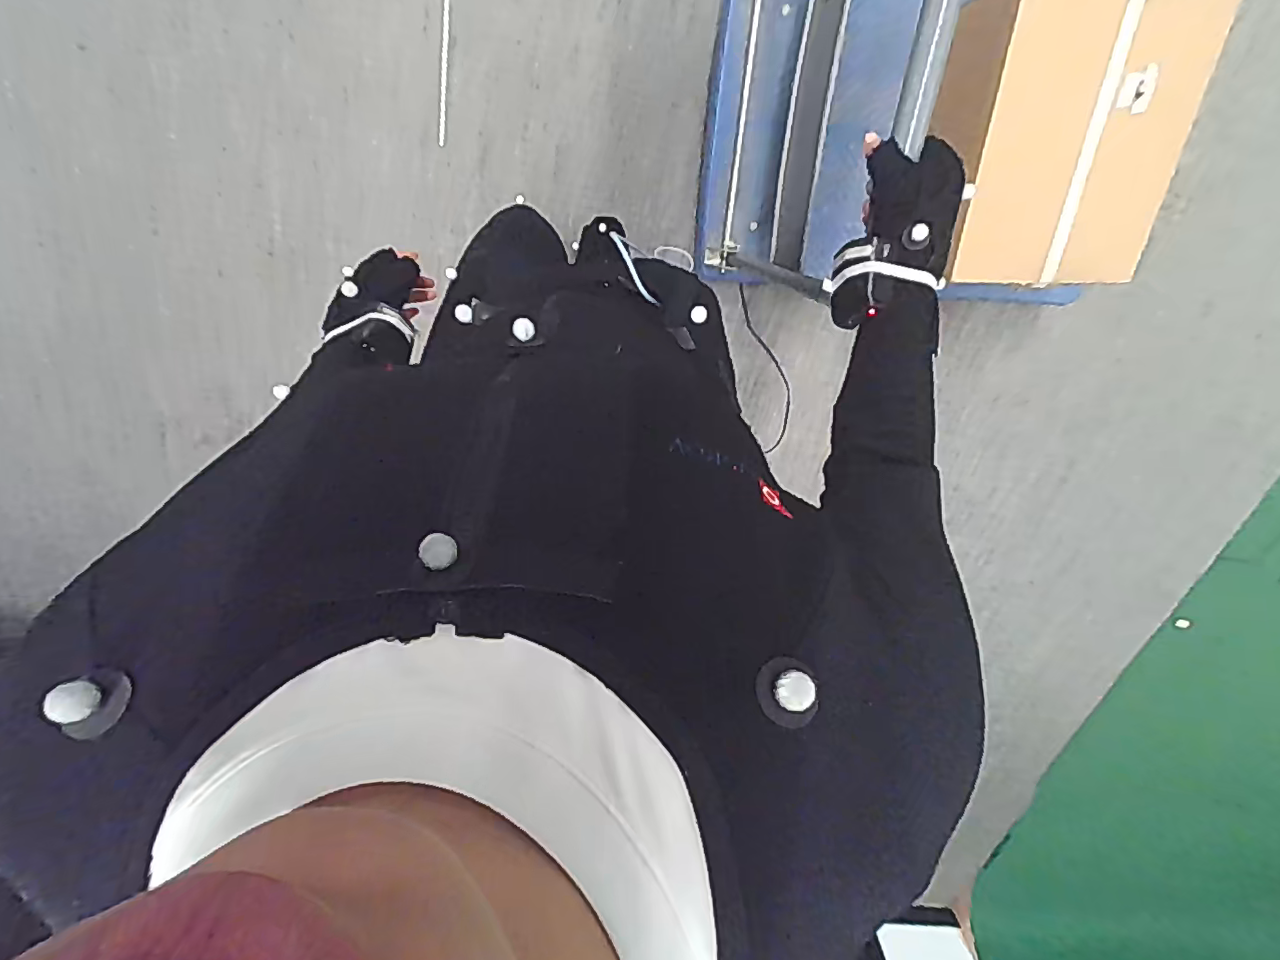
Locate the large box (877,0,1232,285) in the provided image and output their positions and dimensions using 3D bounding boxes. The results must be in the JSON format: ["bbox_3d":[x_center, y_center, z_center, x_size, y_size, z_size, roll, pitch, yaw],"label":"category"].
[{"bbox_3d":[0.659,-0.568,0.948,0.320,0.320,0.408,-1,116,-3],"label":"large box"}]
